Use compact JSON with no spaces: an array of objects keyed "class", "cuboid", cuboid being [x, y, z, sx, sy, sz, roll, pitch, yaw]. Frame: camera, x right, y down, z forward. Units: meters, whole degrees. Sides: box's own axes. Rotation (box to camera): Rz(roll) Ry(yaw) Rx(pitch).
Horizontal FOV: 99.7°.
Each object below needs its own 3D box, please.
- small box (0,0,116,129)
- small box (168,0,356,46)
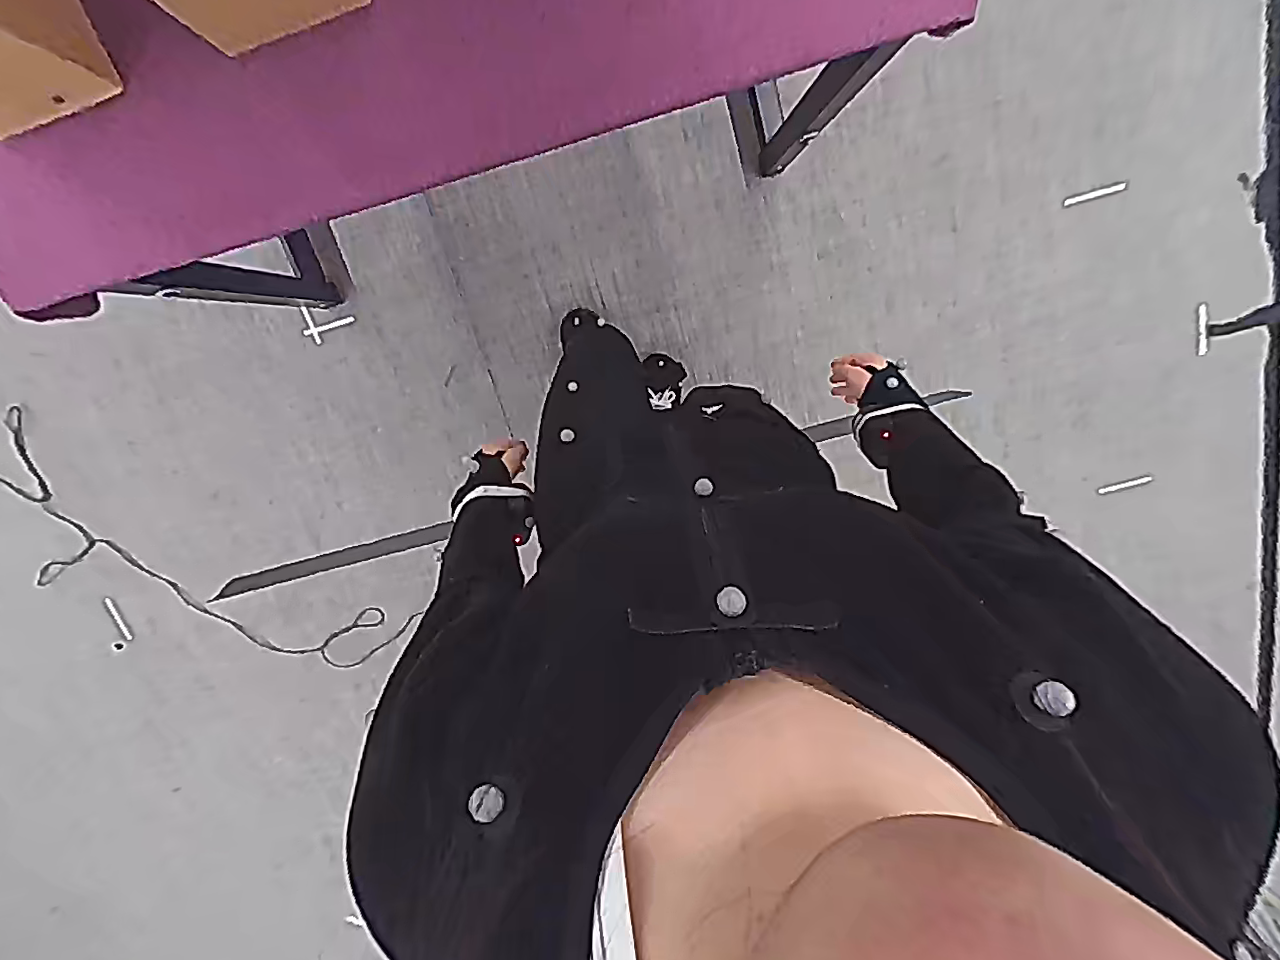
[{"class":"small box","cuboid":[-0.682,-0.471,0.518,0.168,0.176,0.179,-19,104,3]},{"class":"small box","cuboid":[-0.400,-0.556,0.503,0.179,0.176,0.168,-18,105,2]}]
